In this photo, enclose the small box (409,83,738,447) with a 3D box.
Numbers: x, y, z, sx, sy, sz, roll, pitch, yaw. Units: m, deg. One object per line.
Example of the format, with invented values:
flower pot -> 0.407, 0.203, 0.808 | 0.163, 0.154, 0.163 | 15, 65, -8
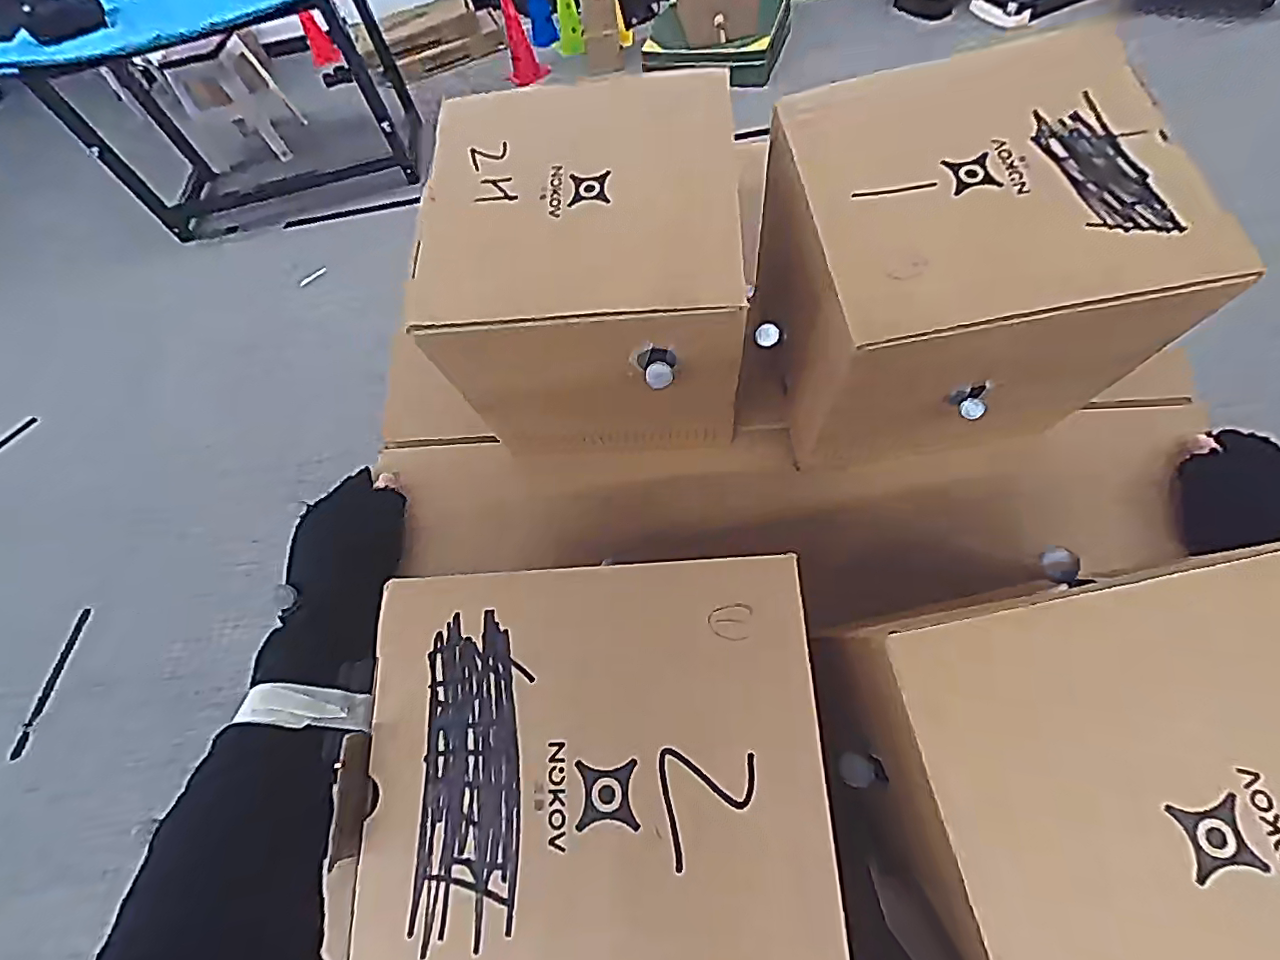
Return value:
small box -> -0.027, -0.130, 0.380 | 0.179, 0.176, 0.168 | -2, 70, 7
